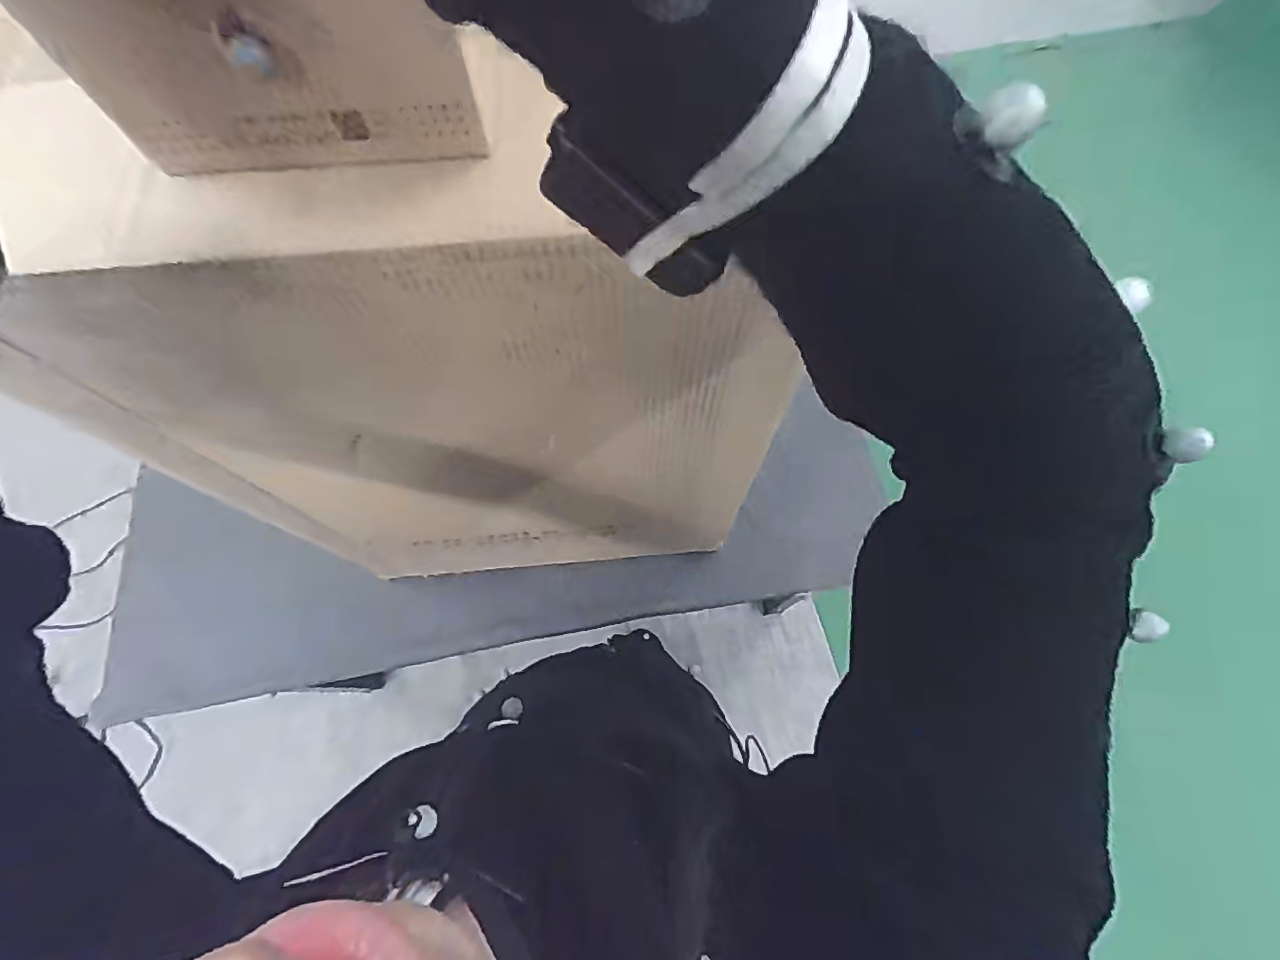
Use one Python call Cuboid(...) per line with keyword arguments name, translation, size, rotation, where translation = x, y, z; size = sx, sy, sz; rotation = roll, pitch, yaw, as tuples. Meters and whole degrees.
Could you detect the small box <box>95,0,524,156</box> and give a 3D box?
Cuboid(name="small box", translation=(-0.148, -0.276, 0.232), size=(0.168, 0.176, 0.179), rotation=(-4, 70, -2))
